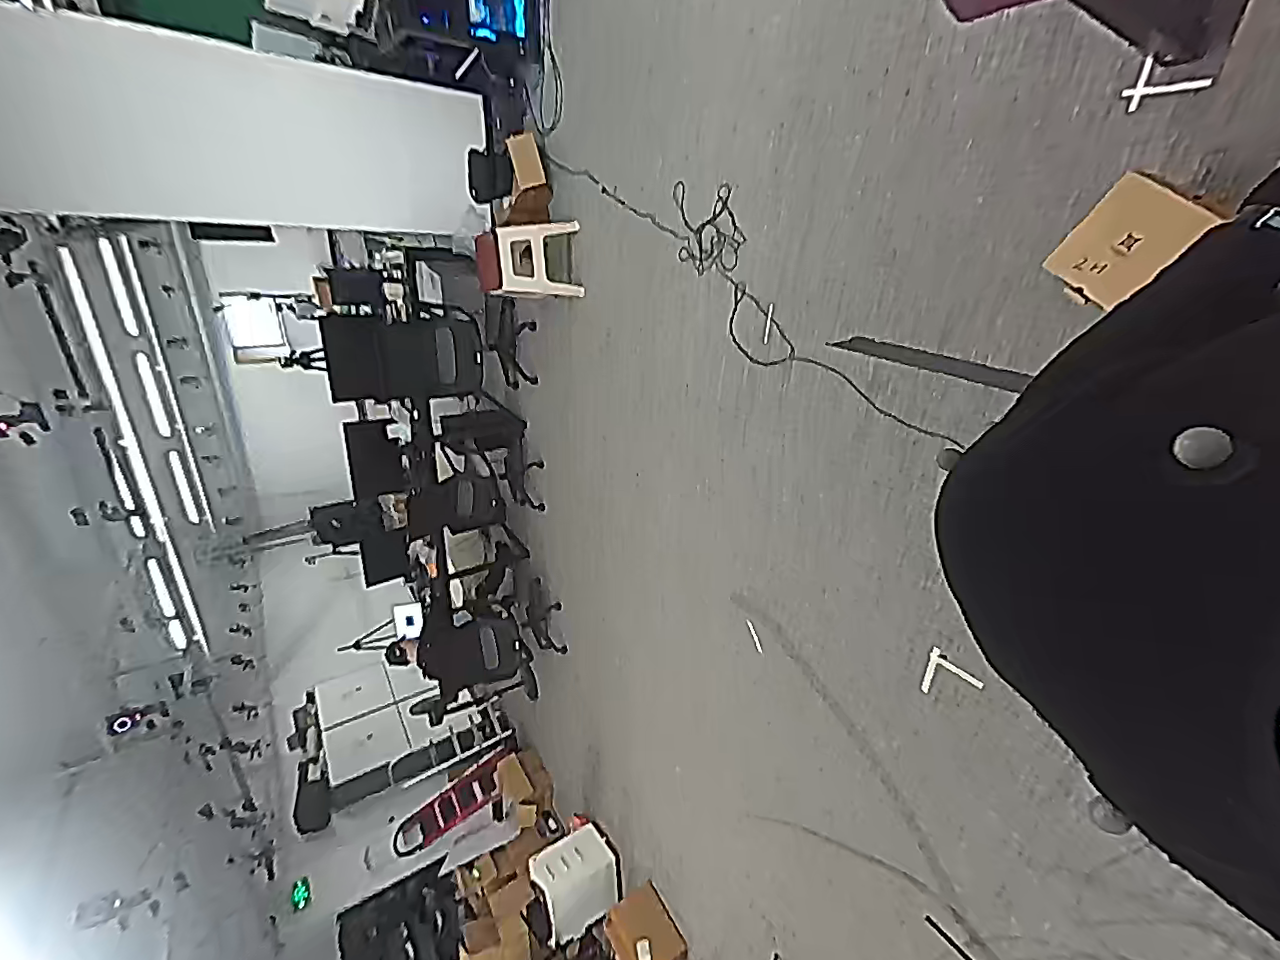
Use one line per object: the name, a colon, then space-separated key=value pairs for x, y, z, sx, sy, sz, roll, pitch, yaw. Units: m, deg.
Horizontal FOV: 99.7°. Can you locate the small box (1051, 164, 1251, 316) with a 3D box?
small box: x=0.874 y=-0.407 z=0.926 sx=0.168 sy=0.176 sz=0.179 roll=58 pitch=145 yaw=27
